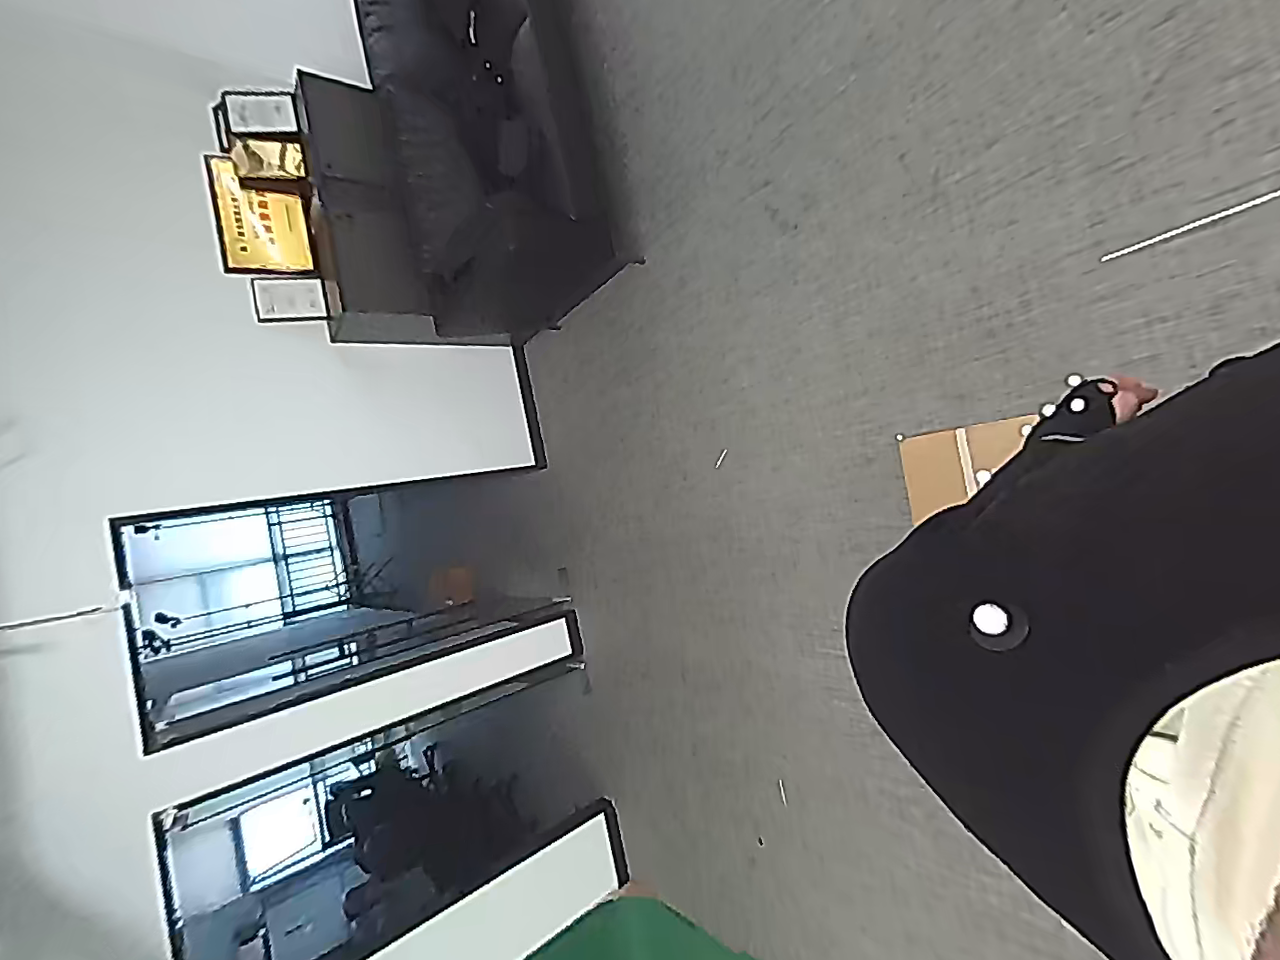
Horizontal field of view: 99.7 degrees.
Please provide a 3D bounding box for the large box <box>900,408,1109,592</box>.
[{"bbox_3d":[0.919,0.051,1.370,0.320,0.320,0.408,-12,87,52],"label":"large box"}]
